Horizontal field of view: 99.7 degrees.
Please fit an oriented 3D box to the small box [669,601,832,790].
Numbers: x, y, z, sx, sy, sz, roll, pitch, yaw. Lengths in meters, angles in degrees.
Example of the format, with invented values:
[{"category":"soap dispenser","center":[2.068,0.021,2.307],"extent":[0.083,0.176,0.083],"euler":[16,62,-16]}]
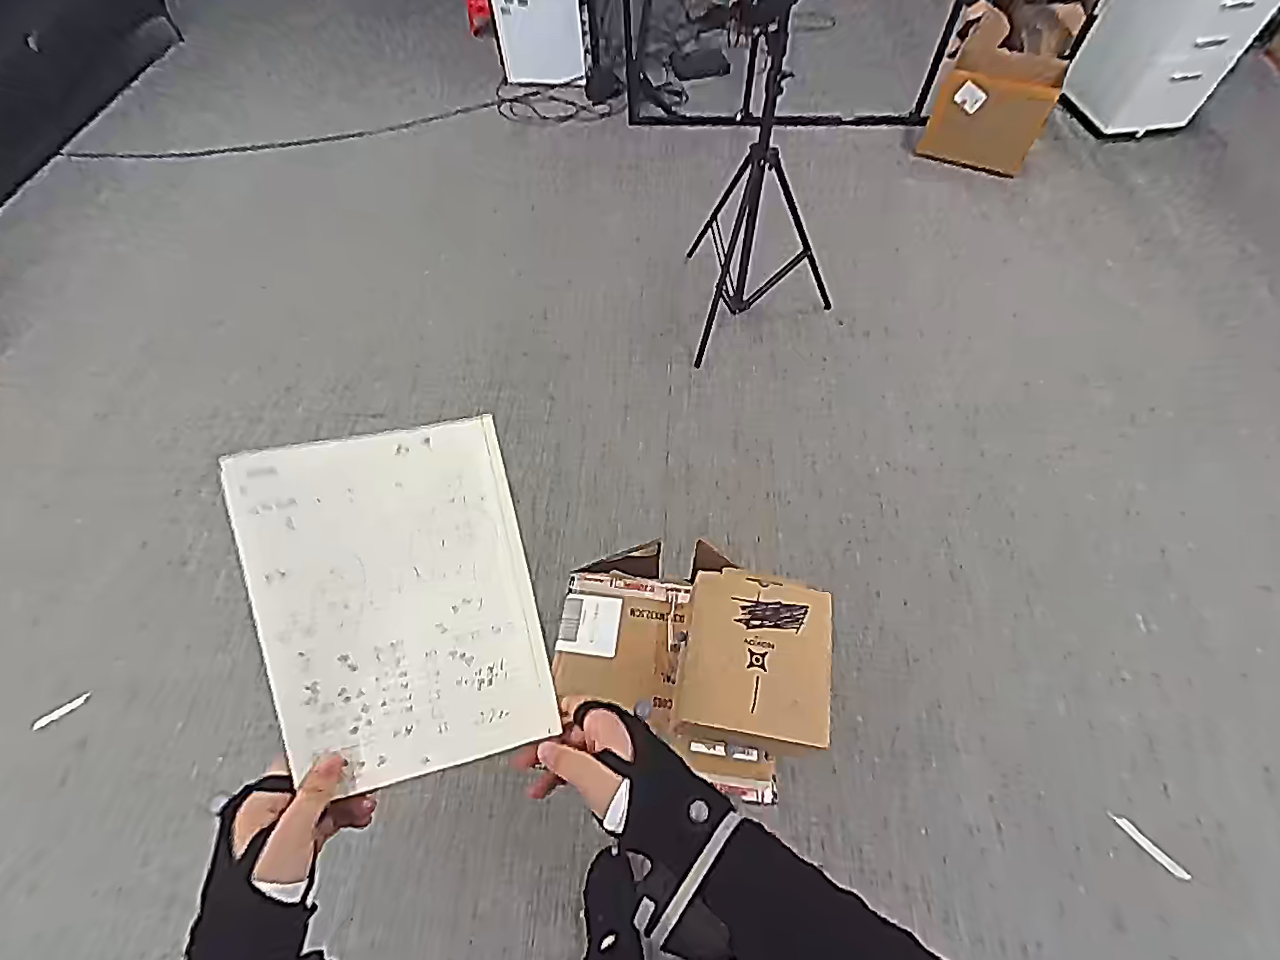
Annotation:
[{"category":"small box","center":[0.131,0.272,0.678],"extent":[0.168,0.176,0.179],"euler":[10,62,4]}]
